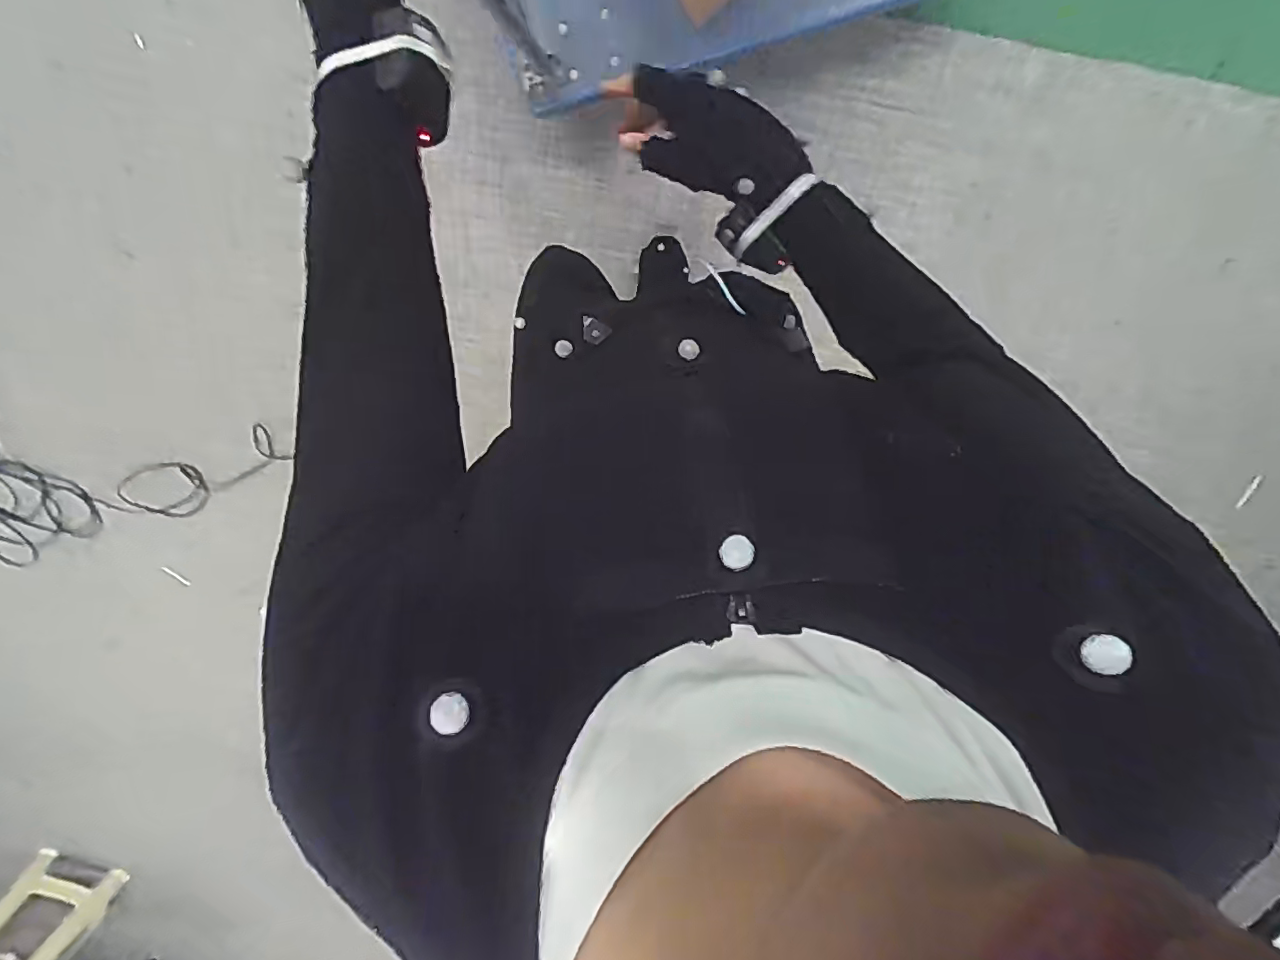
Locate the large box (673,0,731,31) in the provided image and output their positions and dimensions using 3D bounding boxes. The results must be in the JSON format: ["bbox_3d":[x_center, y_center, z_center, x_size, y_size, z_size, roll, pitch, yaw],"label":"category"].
[{"bbox_3d":[0.092,-0.977,0.752,0.320,0.320,0.408,-34,109,15],"label":"large box"}]
